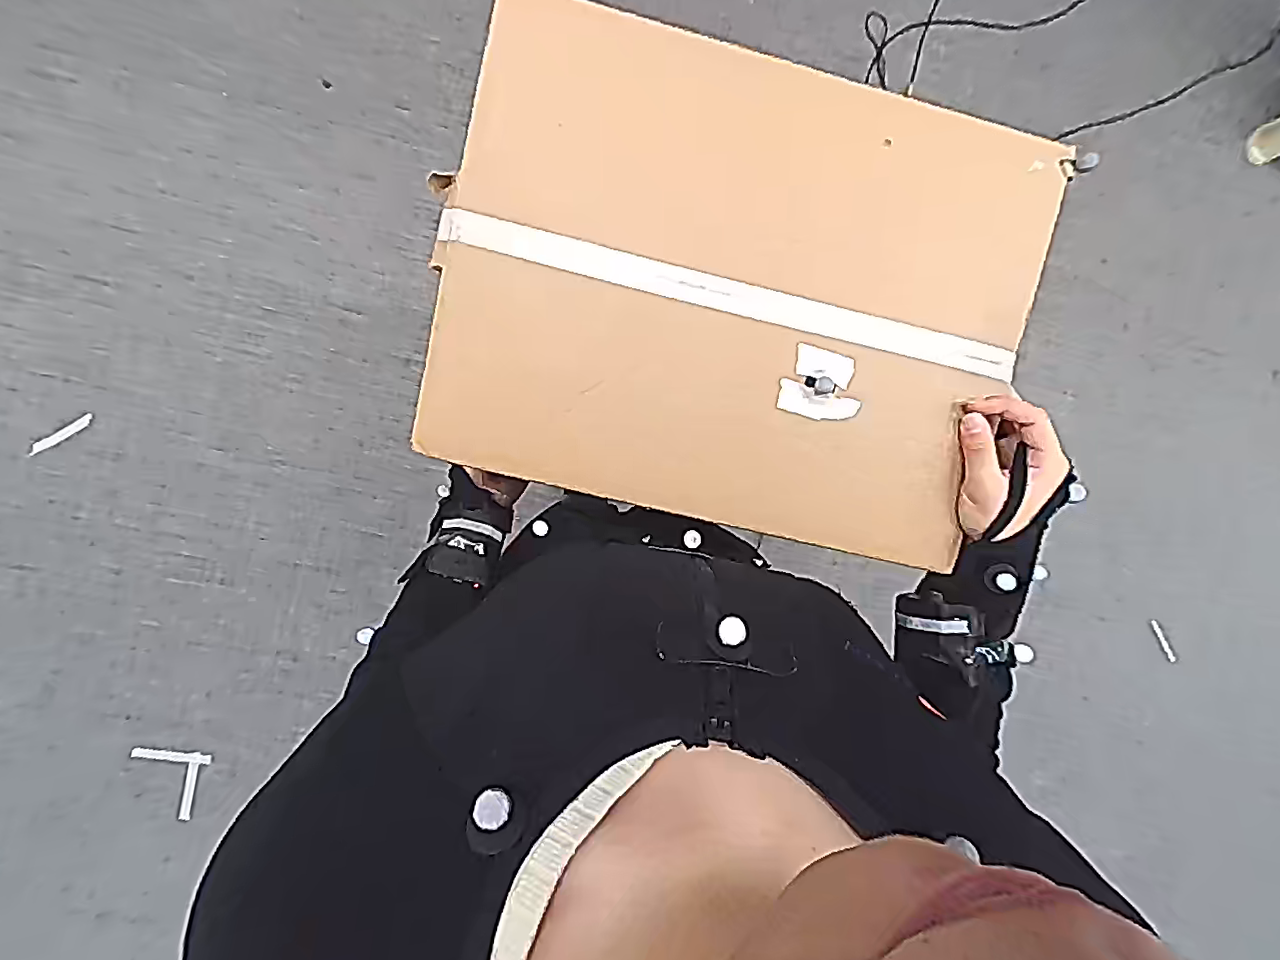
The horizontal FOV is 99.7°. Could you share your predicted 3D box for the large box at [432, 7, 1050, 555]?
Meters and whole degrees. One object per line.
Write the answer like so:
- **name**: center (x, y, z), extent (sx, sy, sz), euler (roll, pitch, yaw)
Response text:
- **large box**: center (0.062, -0.142, 0.532), extent (0.408, 0.320, 0.320), euler (12, 96, -6)
